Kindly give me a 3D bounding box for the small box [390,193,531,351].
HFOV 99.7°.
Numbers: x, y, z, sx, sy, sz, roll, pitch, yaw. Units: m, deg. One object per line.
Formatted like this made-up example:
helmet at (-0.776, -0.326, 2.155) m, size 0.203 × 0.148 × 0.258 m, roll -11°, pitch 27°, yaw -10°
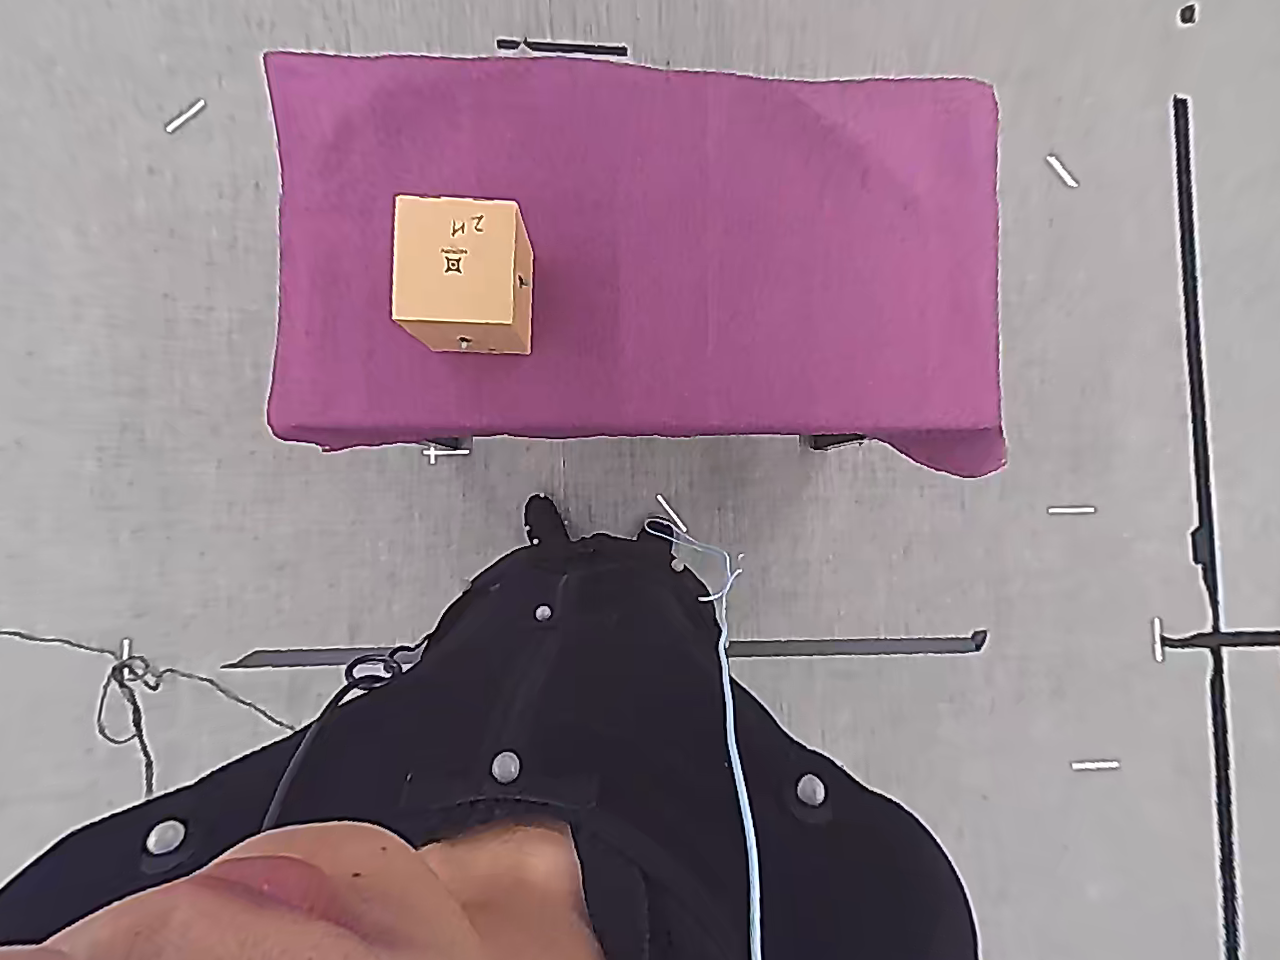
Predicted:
small box at (-0.261, -0.301, 0.819) m, size 0.168 × 0.176 × 0.179 m, roll 2°, pitch 89°, yaw -4°
